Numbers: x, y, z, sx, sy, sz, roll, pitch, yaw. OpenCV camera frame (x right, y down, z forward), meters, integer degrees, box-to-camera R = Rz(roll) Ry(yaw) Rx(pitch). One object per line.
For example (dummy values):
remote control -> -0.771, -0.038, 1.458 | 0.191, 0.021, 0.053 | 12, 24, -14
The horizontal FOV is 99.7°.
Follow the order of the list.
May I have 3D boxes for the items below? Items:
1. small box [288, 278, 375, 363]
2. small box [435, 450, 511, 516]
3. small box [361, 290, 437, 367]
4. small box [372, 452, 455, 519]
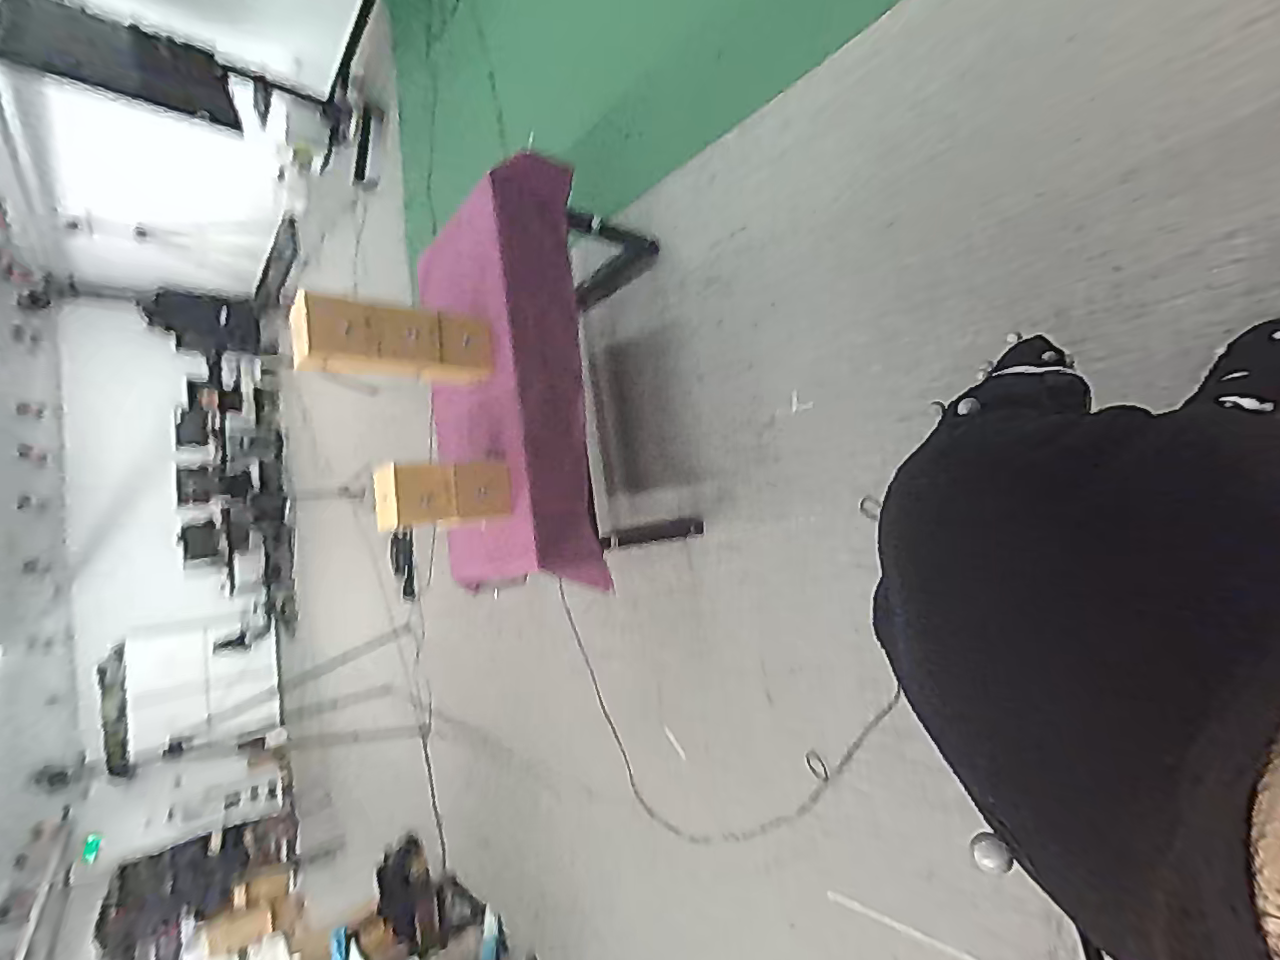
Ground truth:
small box -> -0.809, -0.413, 1.428 | 0.179, 0.176, 0.168 | -6, 88, 48
small box -> -0.503, 0.010, 1.610 | 0.168, 0.176, 0.179 | -11, 85, 48
small box -> -0.688, -0.423, 1.540 | 0.179, 0.176, 0.168 | -4, 90, 47
small box -> -0.625, 0.015, 1.502 | 0.179, 0.176, 0.168 | -9, 86, 49
